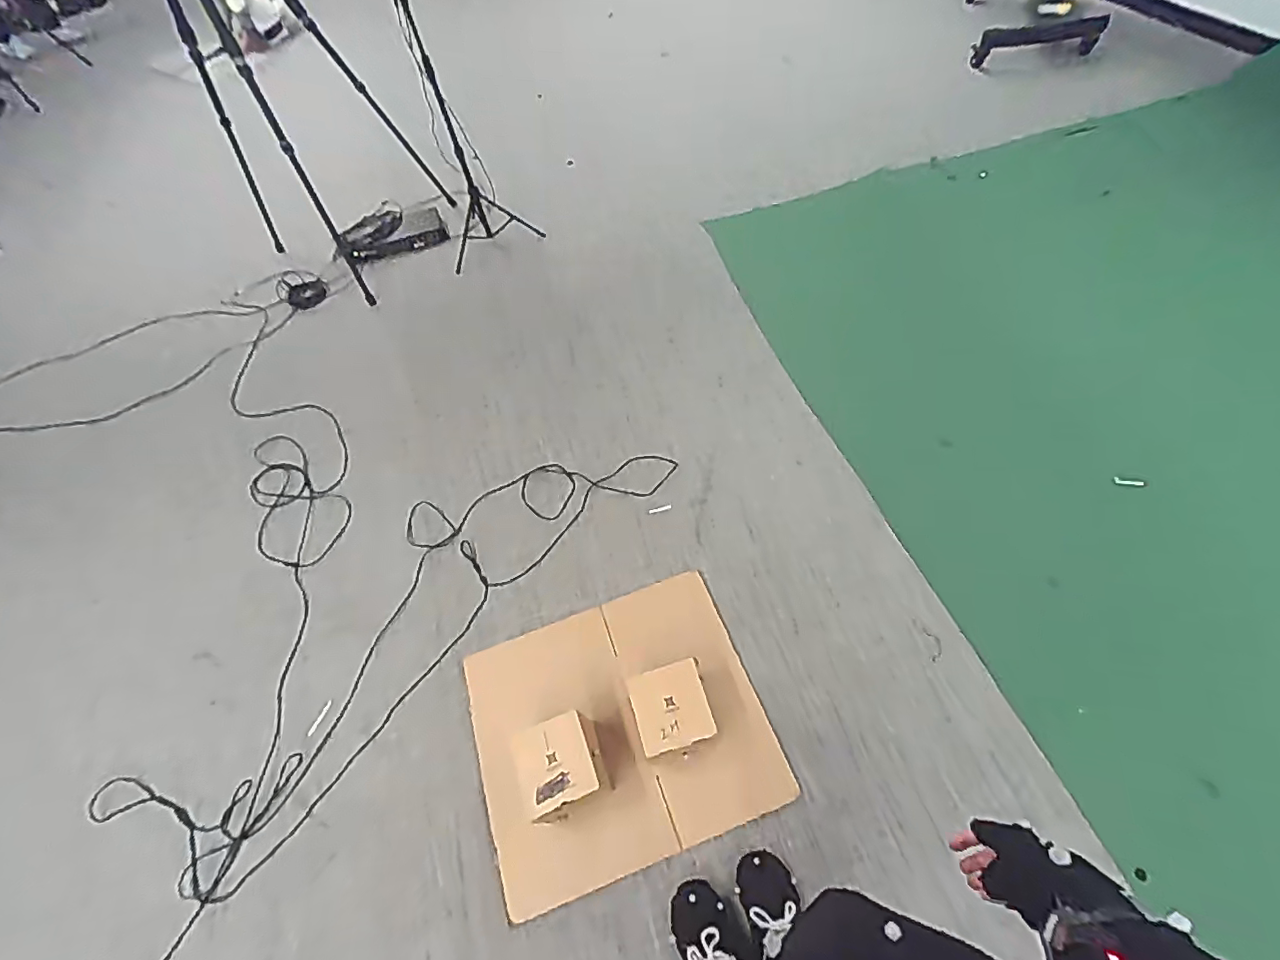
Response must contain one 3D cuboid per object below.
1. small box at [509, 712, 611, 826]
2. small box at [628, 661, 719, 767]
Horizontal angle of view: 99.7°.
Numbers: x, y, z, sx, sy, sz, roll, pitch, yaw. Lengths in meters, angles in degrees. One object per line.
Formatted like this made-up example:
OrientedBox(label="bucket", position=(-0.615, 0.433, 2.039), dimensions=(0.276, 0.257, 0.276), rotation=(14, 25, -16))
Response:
OrientedBox(label="small box", position=(-0.177, 0.660, 1.232), dimensions=(0.168, 0.176, 0.179), rotation=(-22, 56, -7))
OrientedBox(label="small box", position=(0.079, 0.553, 1.272), dimensions=(0.168, 0.176, 0.179), rotation=(-17, 57, -3))
